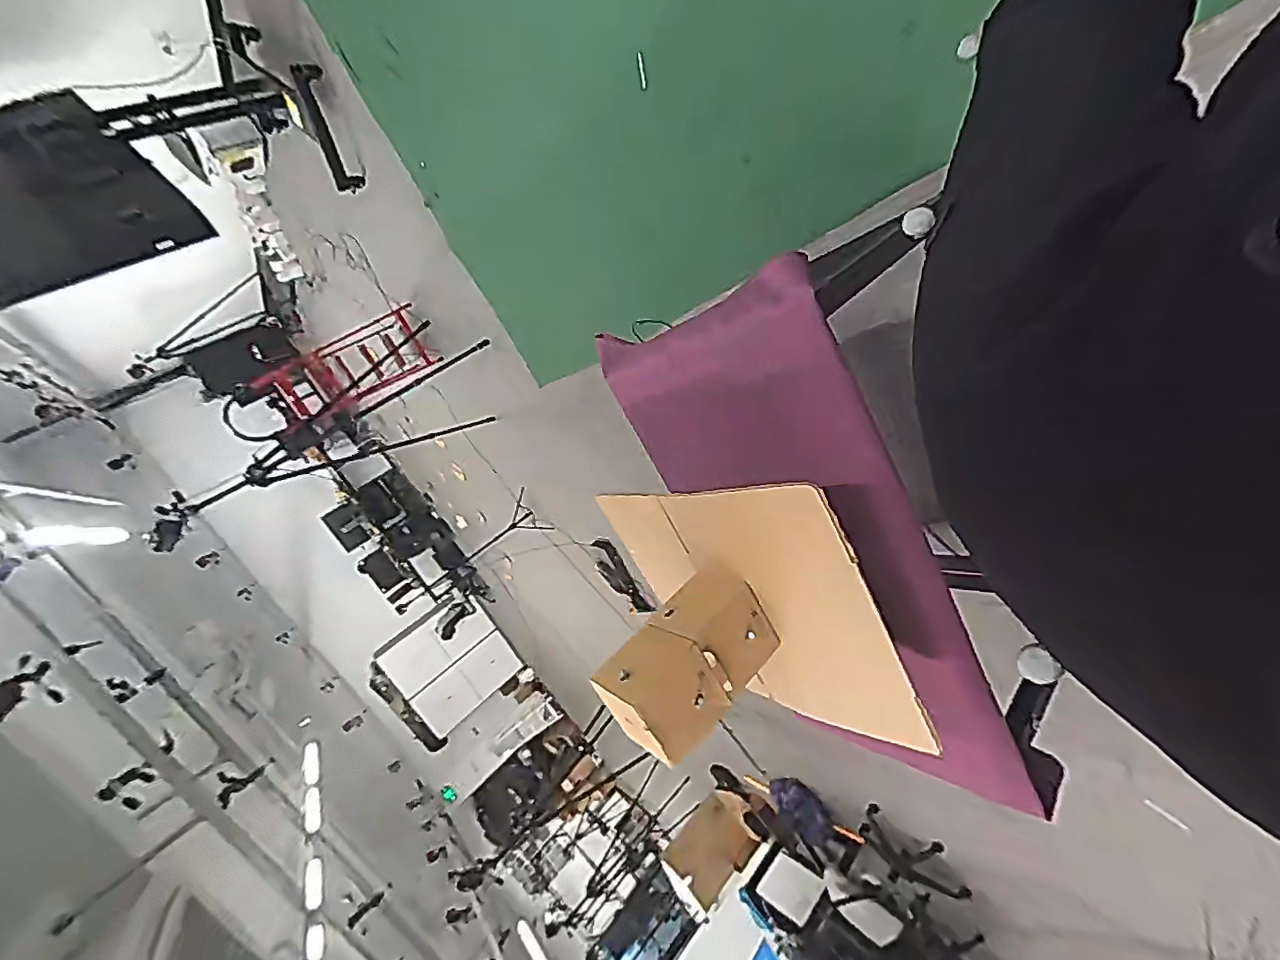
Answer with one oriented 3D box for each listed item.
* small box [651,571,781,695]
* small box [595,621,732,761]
[{"bbox_3d":[0.162,0.311,1.143,0.179,0.176,0.168,-3,122,58],"label":"small box"},{"bbox_3d":[0.048,0.403,1.069,0.179,0.176,0.168,-3,121,58],"label":"small box"}]
